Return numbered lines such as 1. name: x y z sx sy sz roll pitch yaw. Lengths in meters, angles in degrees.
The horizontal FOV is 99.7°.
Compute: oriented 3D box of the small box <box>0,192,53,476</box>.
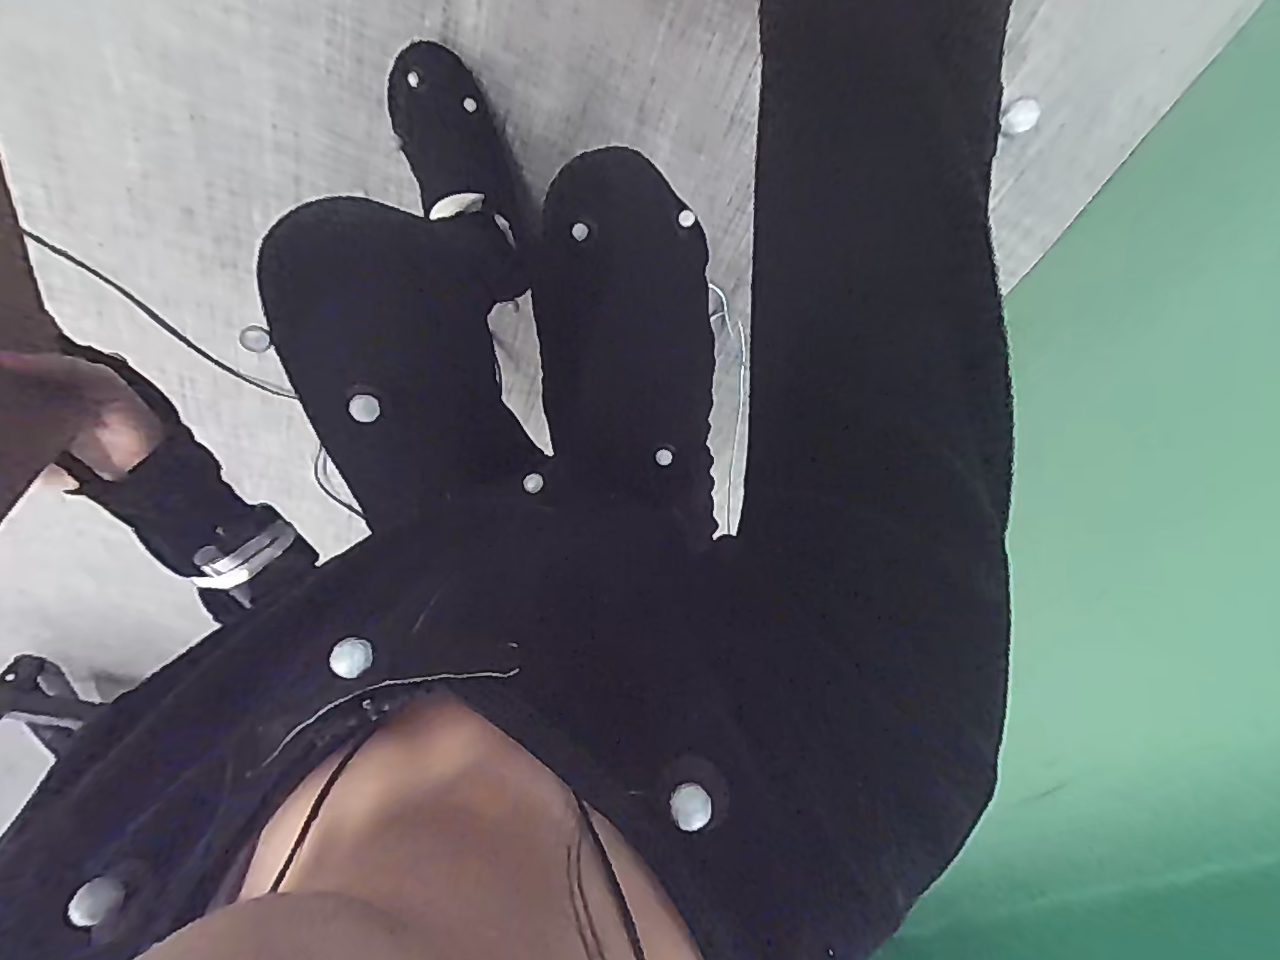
1. small box: -0.358 -0.052 0.180 0.168 0.176 0.179 9 130 -26
